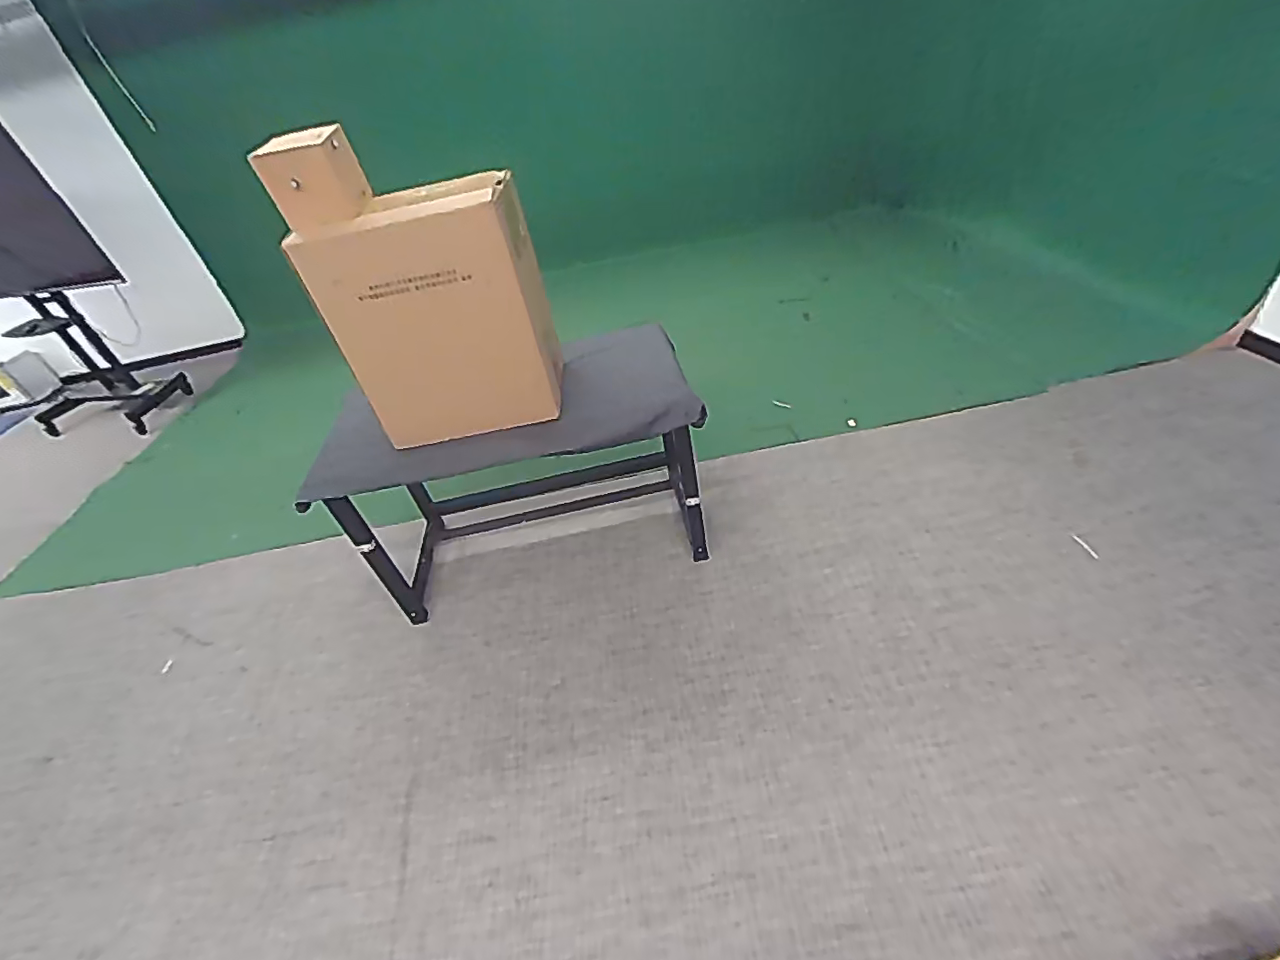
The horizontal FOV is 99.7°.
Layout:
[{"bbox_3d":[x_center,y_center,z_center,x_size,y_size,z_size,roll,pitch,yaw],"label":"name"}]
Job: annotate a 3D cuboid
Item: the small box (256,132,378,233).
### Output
[{"bbox_3d":[-0.798,-0.741,1.355,0.179,0.176,0.168,-11,46,3],"label":"small box"}]
